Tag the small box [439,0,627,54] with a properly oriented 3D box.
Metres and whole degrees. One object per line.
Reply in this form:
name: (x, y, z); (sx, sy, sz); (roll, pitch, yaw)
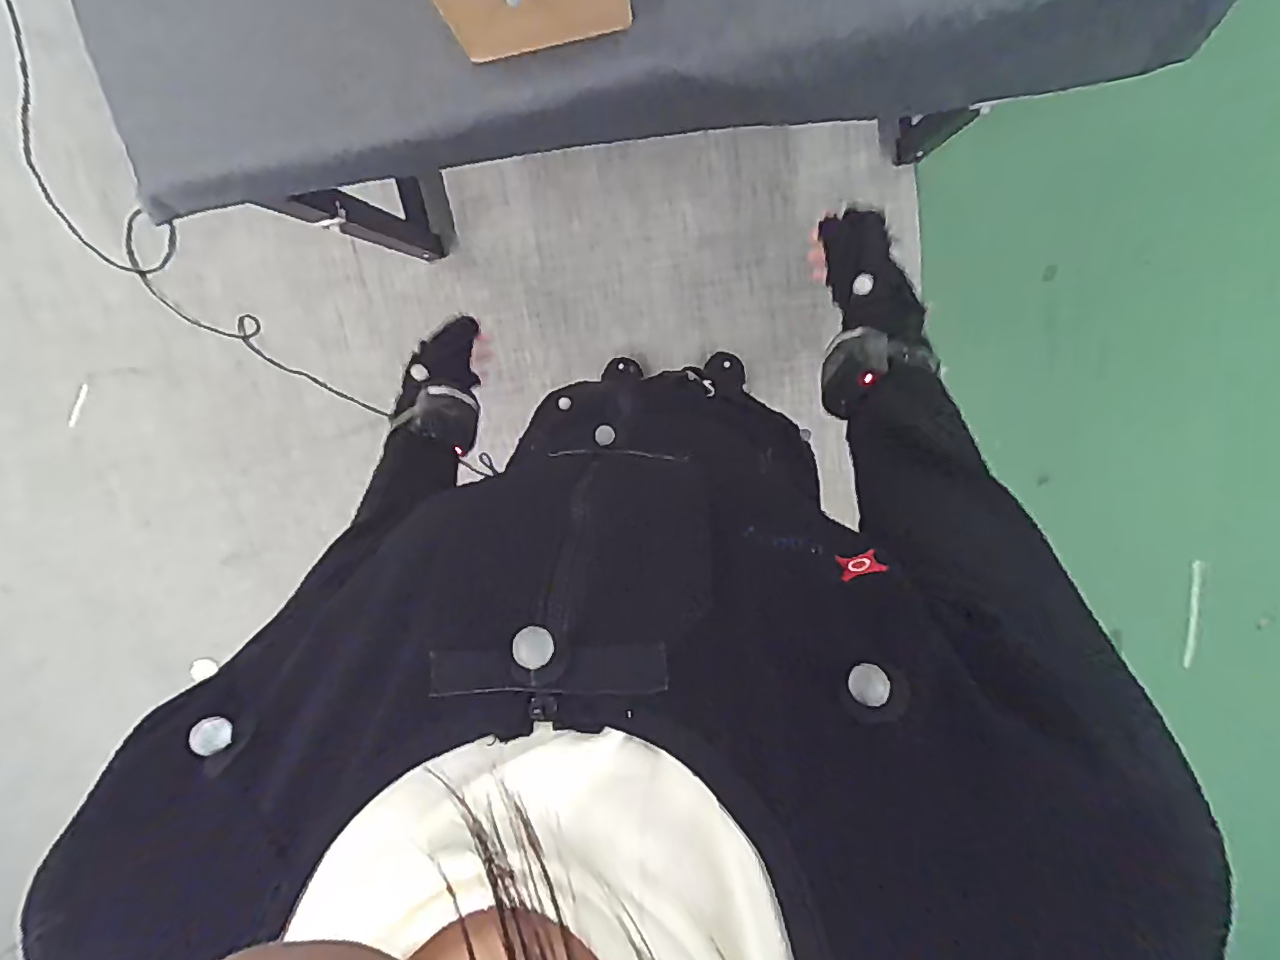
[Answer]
small box: (-0.114, -0.522, 0.480); (0.179, 0.176, 0.168); (-8, 102, 5)
